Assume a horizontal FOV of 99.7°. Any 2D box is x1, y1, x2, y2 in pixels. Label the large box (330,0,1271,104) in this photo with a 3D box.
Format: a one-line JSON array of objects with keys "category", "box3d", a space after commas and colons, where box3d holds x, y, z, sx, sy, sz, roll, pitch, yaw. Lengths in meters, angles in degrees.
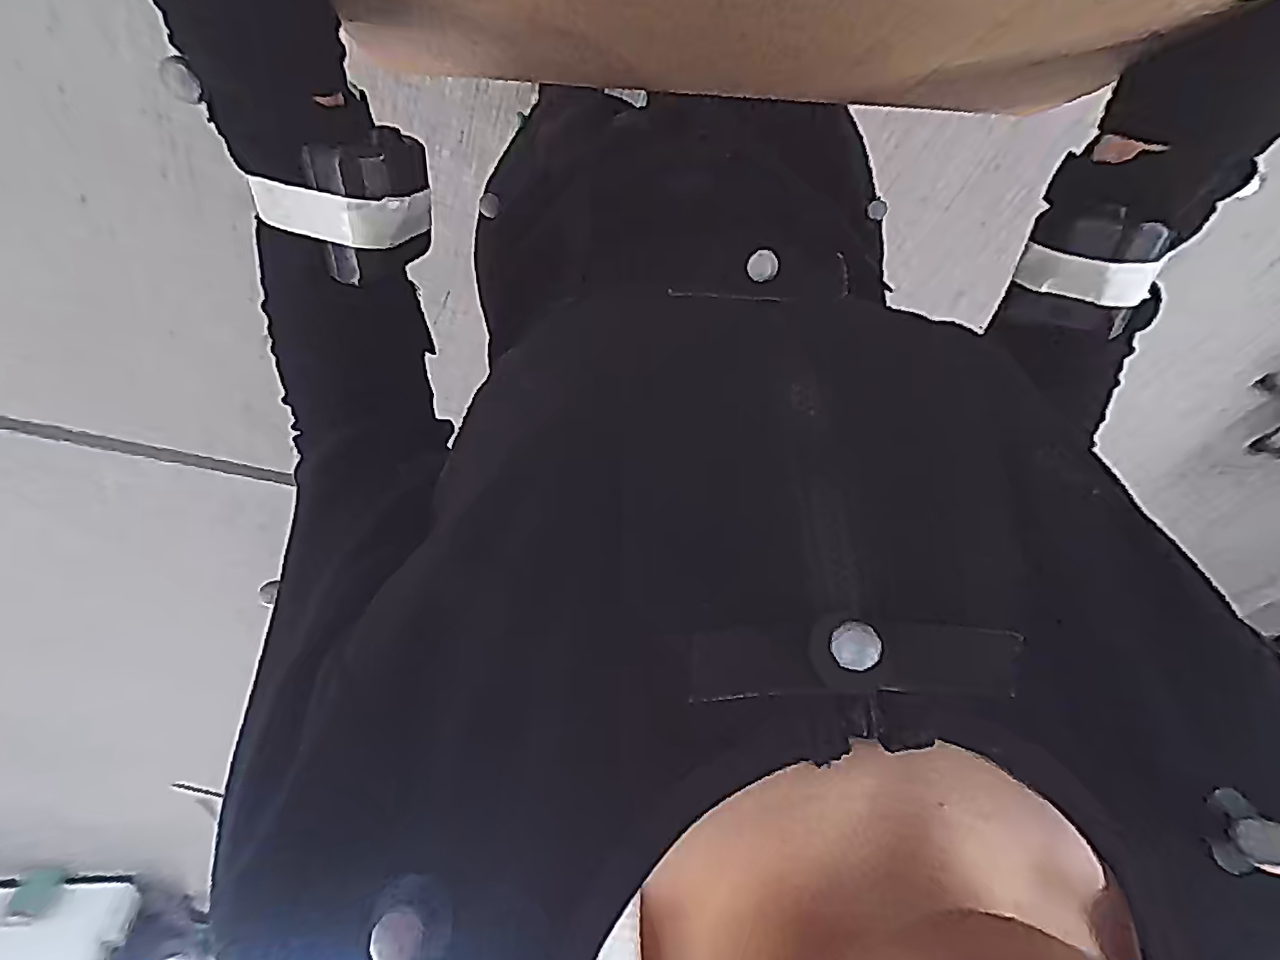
[{"category": "large box", "box3d": [0.065, -0.339, 0.144, 0.408, 0.320, 0.320, 0, 108, -4]}]
